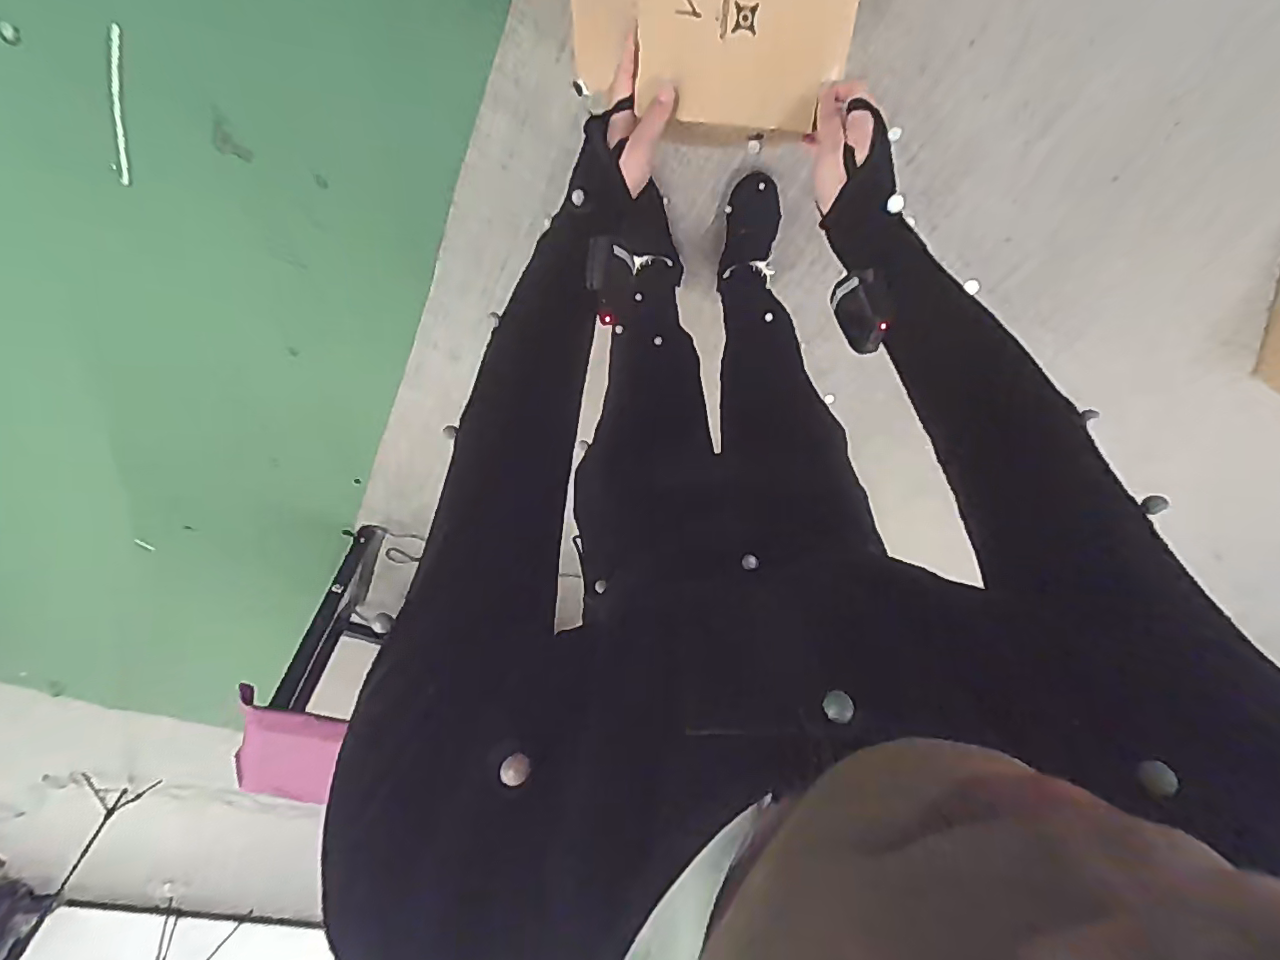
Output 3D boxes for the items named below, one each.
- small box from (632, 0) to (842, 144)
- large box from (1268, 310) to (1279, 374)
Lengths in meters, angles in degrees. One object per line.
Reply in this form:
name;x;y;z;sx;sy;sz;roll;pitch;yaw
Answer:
small box;0.086;-0.445;0.541;0.179;0.176;0.168;4;116;-3
large box;1.736;-0.384;1.199;0.320;0.320;0.408;-22;128;19
